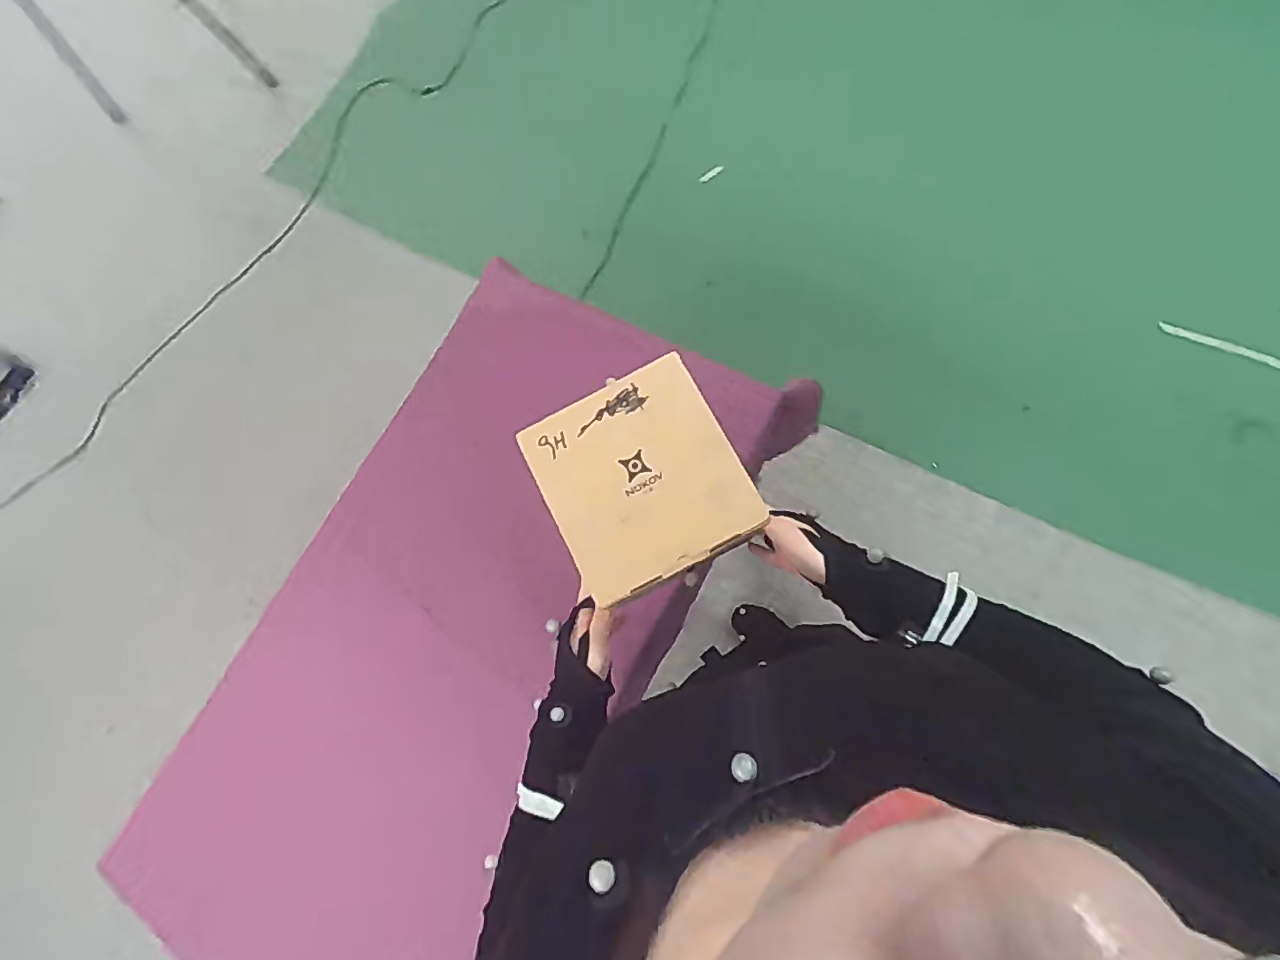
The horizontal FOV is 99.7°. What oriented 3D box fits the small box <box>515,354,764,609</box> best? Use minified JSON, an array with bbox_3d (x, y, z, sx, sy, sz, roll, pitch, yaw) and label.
[{"bbox_3d":[0.005,0.011,0.544,0.168,0.176,0.179,-27,78,0],"label":"small box"}]
